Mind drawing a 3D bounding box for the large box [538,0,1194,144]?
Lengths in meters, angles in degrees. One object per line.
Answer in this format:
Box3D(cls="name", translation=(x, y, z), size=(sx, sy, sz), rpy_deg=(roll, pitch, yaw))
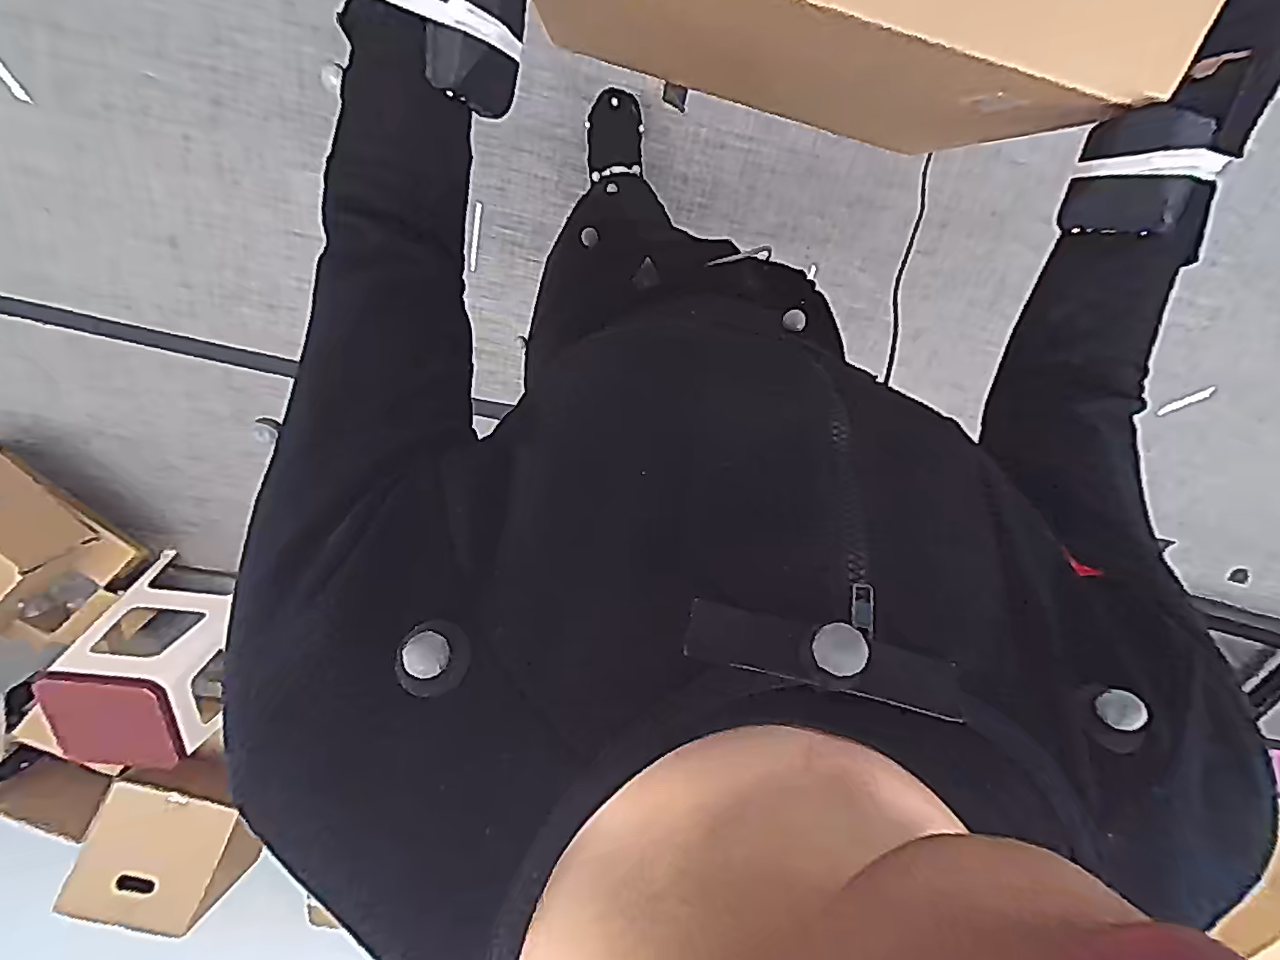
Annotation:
Box3D(cls="large box", translation=(0.141, -0.467, 0.372), size=(0.408, 0.320, 0.320), rpy_deg=(11, 118, -7))
